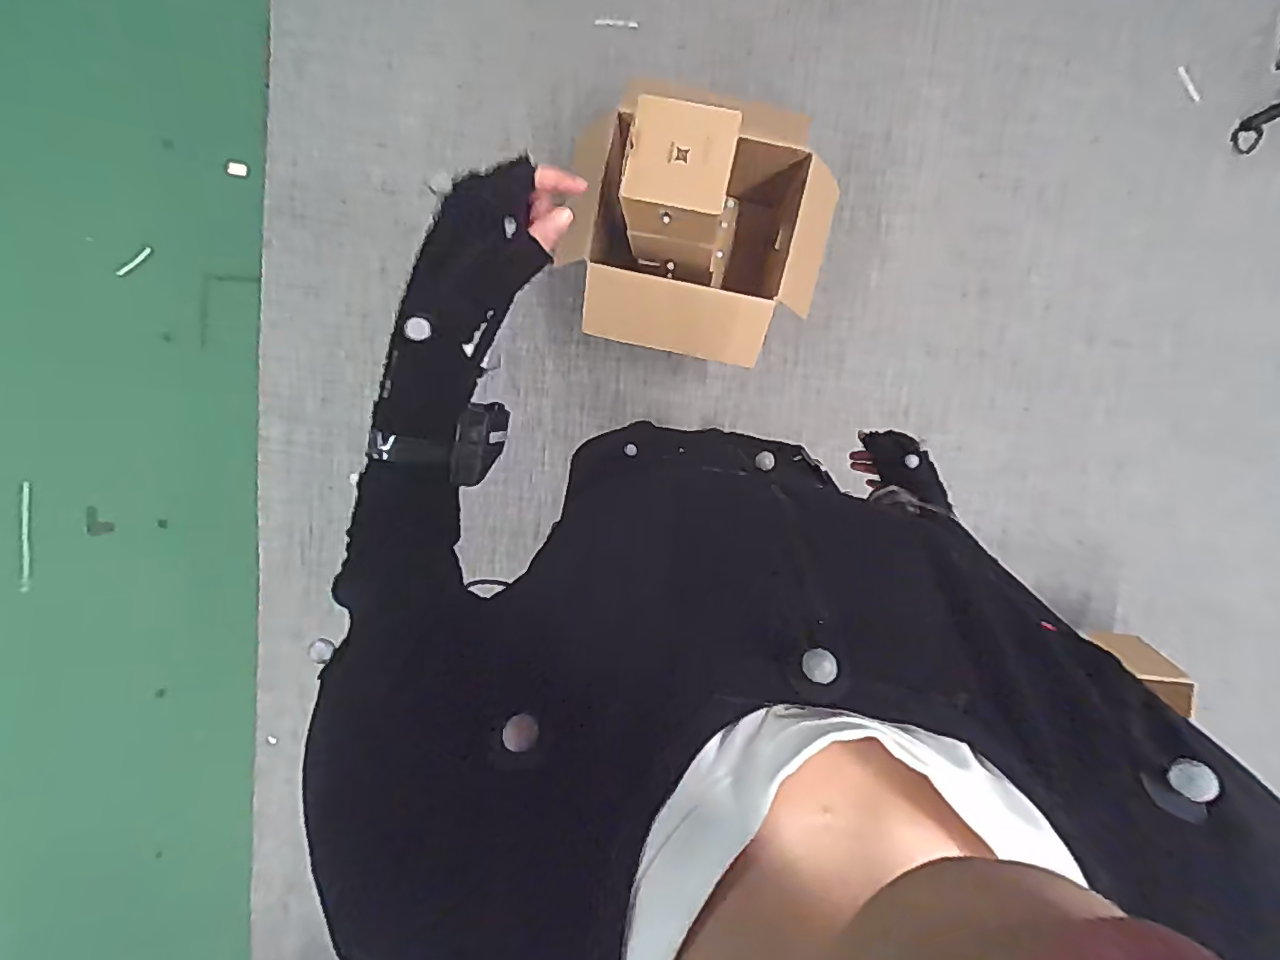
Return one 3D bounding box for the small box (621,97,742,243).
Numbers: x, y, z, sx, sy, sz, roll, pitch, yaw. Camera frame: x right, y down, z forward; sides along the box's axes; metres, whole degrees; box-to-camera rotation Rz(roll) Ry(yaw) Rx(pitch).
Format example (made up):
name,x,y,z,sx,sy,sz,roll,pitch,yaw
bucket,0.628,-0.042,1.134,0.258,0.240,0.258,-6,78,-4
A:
name,x,y,z,sx,sy,sz,roll,pitch,yaw
small box,0.073,-0.547,0.977,0.179,0.176,0.168,11,97,2
